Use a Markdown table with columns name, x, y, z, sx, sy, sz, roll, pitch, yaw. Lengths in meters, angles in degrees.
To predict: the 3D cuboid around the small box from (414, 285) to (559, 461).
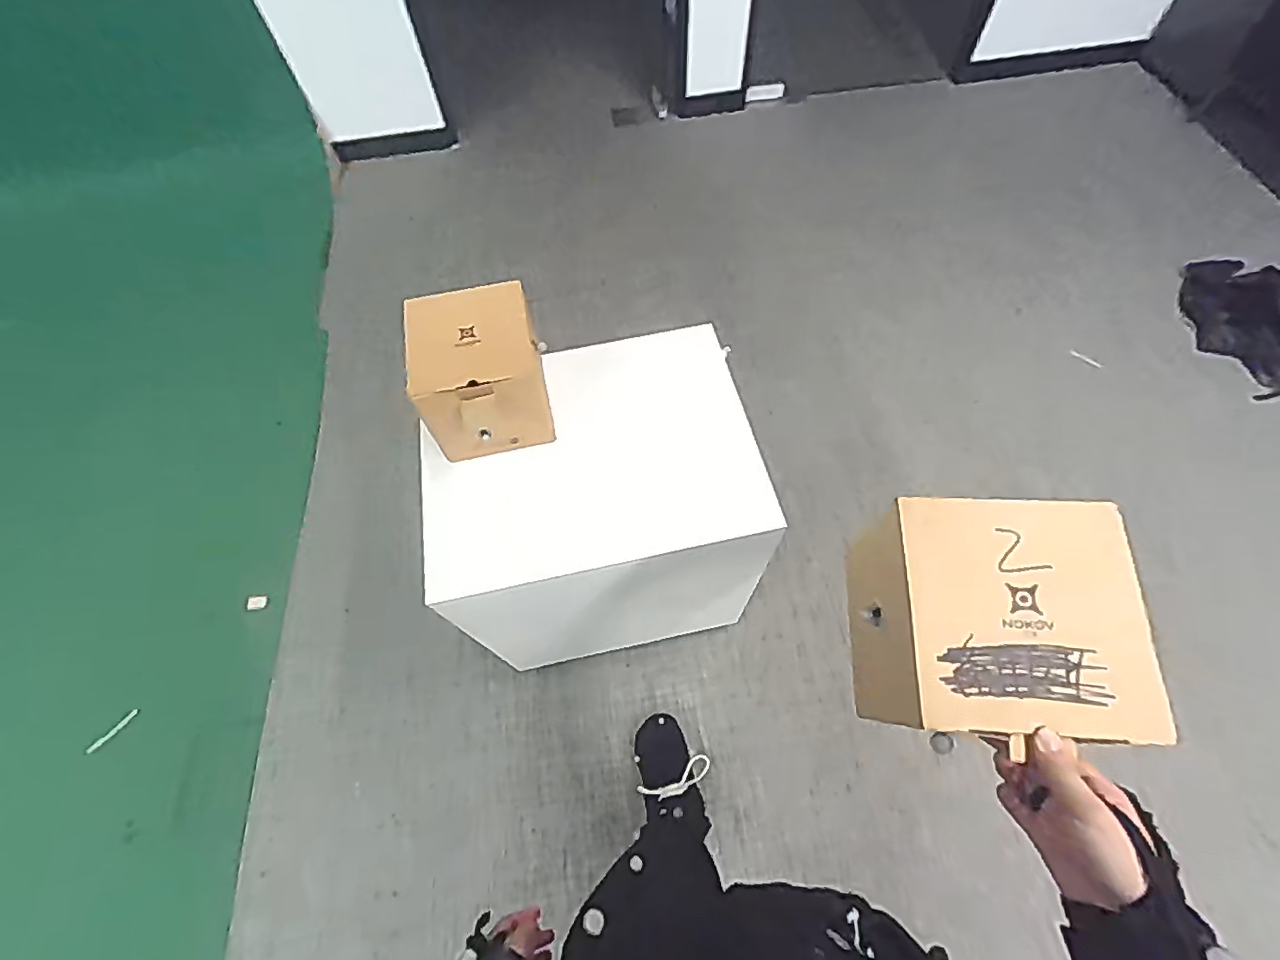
| name | x | y | z | sx | sy | sz | roll | pitch | yaw |
| --- | --- | --- | --- | --- | --- | --- | --- | --- | --- |
| small box | -0.222 | -0.154 | 0.800 | 0.168 | 0.176 | 0.179 | -12 | 63 | -5 |
